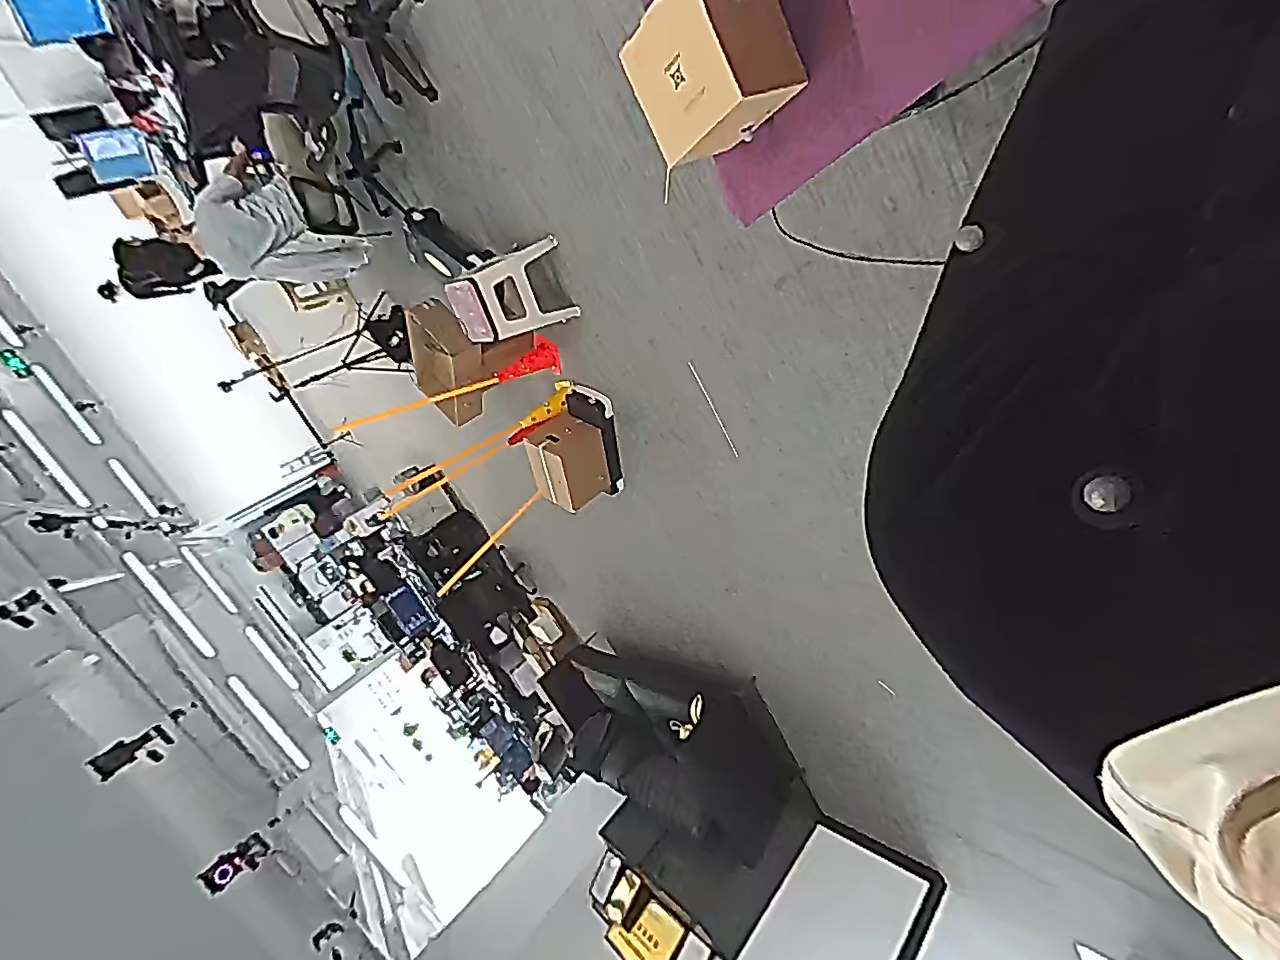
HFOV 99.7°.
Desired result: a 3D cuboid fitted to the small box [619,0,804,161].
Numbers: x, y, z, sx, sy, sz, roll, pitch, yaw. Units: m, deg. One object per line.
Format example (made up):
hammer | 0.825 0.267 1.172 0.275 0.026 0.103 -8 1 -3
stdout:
small box | 0.107 -0.613 0.797 0.168 0.176 0.179 -8 114 56
